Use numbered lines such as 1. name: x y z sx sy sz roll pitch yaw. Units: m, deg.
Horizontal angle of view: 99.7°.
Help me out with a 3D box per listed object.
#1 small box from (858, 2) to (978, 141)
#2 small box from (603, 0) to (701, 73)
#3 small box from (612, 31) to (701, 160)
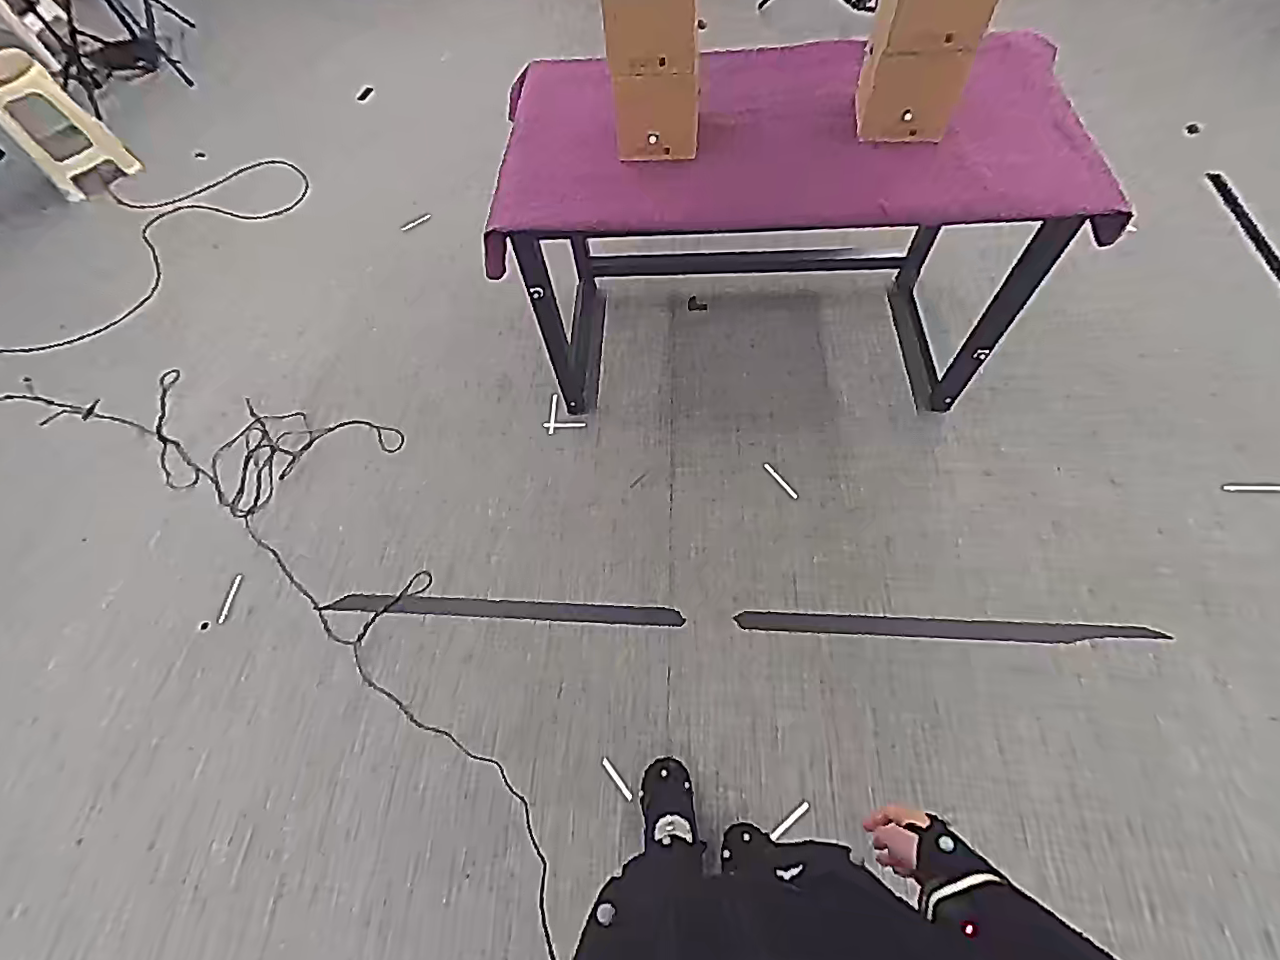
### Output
1. small box: 0.545 -0.817 1.087 0.168 0.176 0.179 5 63 9
2. small box: 0.025 -0.874 0.978 0.168 0.176 0.179 3 63 7
3. small box: 0.039 -0.799 1.123 0.168 0.176 0.179 2 64 6
